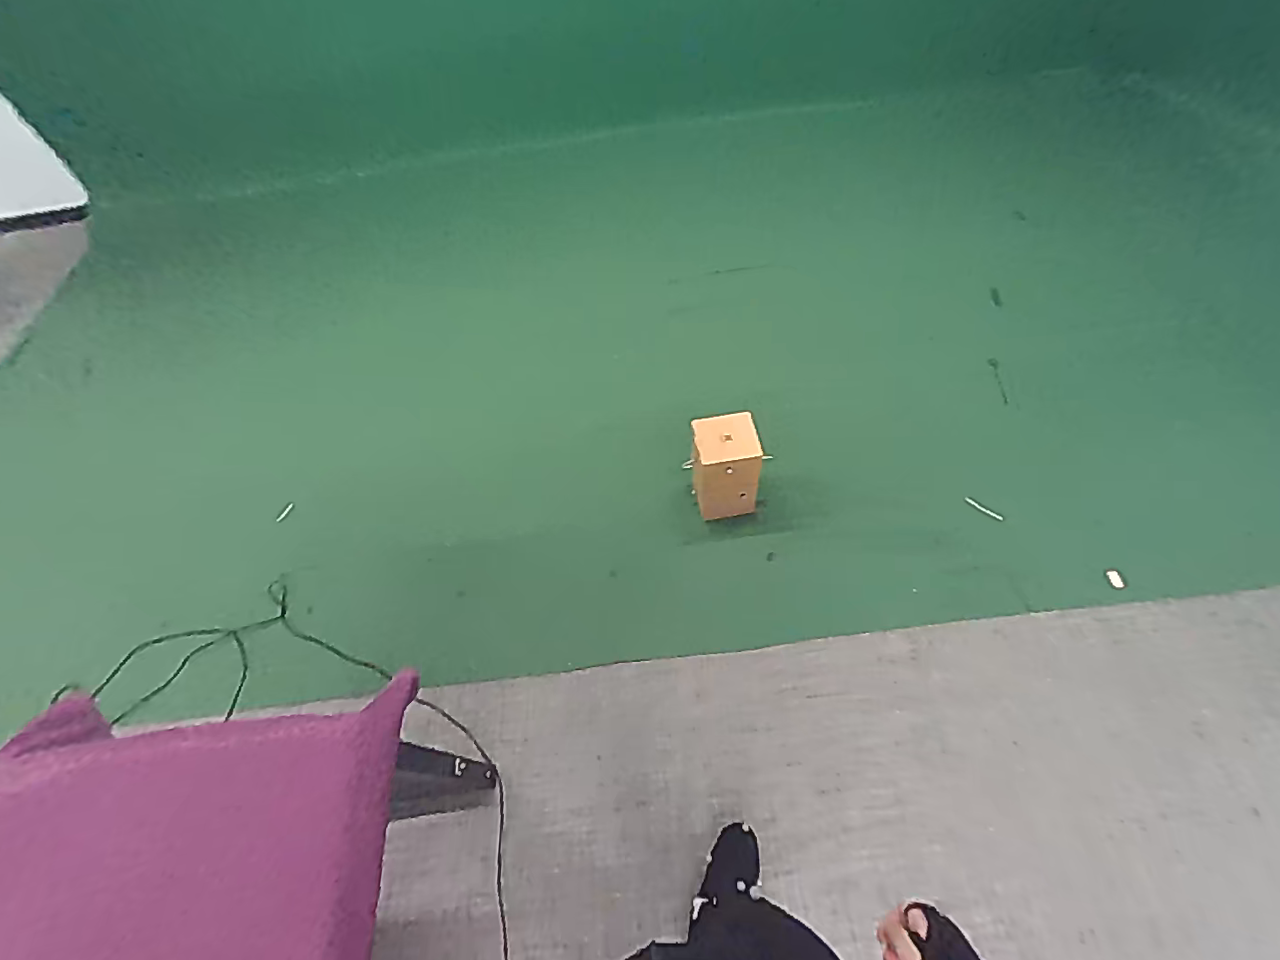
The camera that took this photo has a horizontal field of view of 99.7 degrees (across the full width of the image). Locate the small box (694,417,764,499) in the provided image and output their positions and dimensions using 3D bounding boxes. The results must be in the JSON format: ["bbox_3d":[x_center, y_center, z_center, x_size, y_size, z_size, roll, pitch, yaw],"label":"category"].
[{"bbox_3d":[0.260,-0.063,1.624,0.179,0.176,0.168,-10,56,1],"label":"small box"}]

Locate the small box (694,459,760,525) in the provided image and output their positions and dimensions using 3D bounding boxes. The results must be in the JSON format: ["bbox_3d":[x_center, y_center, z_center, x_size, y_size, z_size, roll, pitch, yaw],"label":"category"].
[{"bbox_3d":[0.276,0.026,1.759,0.179,0.176,0.168,-11,56,-1],"label":"small box"}]
